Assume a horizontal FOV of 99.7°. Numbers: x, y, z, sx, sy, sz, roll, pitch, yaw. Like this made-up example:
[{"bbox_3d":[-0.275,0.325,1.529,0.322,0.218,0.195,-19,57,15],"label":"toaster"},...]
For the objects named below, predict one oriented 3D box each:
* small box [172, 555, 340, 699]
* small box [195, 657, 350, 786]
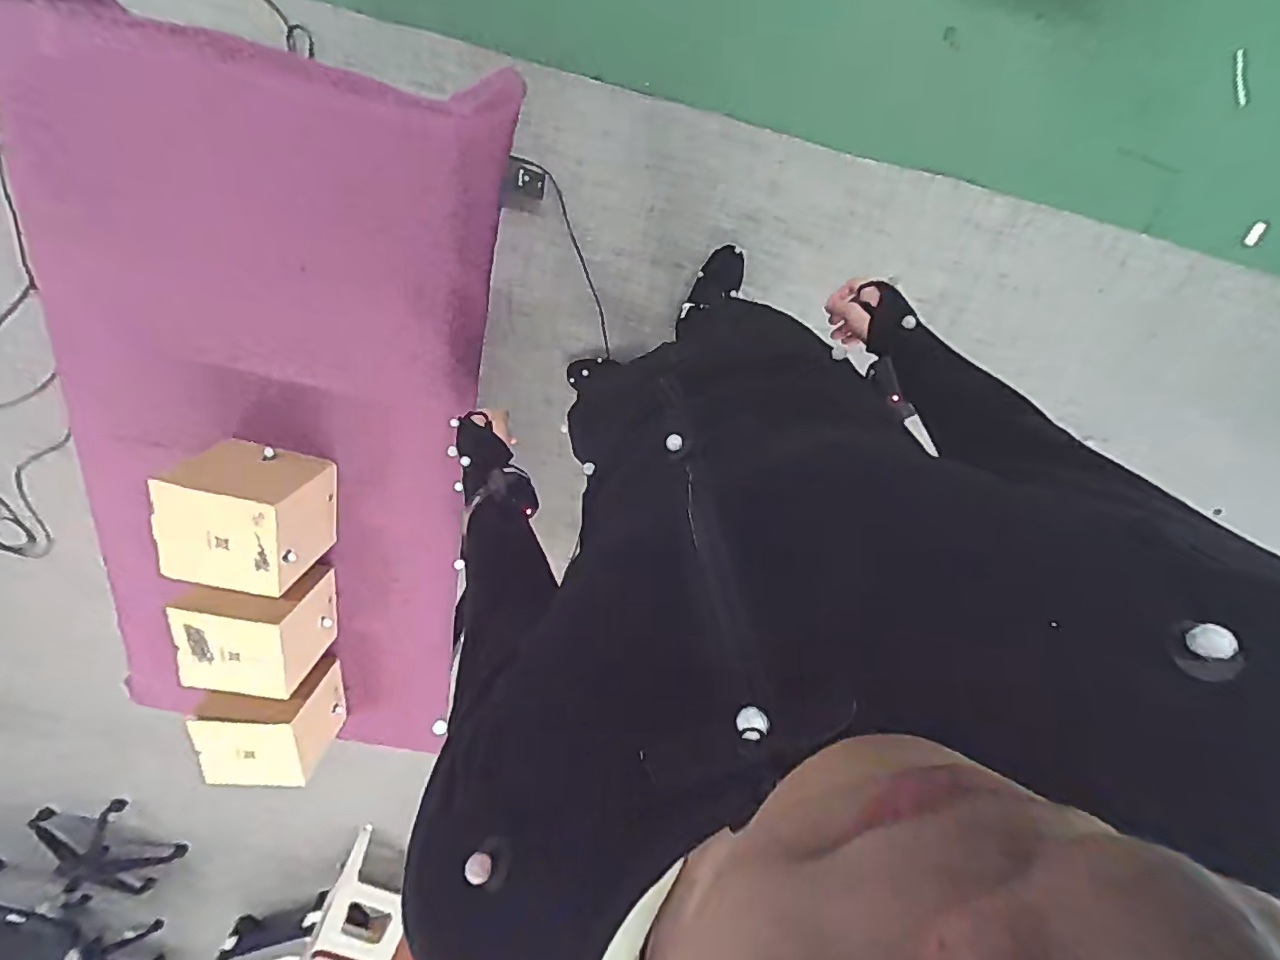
[{"bbox_3d":[-0.664,0.252,0.957,0.179,0.176,0.168,11,114,-4],"label":"small box"},{"bbox_3d":[-0.700,0.456,1.051,0.179,0.176,0.168,7,115,-1],"label":"small box"}]
